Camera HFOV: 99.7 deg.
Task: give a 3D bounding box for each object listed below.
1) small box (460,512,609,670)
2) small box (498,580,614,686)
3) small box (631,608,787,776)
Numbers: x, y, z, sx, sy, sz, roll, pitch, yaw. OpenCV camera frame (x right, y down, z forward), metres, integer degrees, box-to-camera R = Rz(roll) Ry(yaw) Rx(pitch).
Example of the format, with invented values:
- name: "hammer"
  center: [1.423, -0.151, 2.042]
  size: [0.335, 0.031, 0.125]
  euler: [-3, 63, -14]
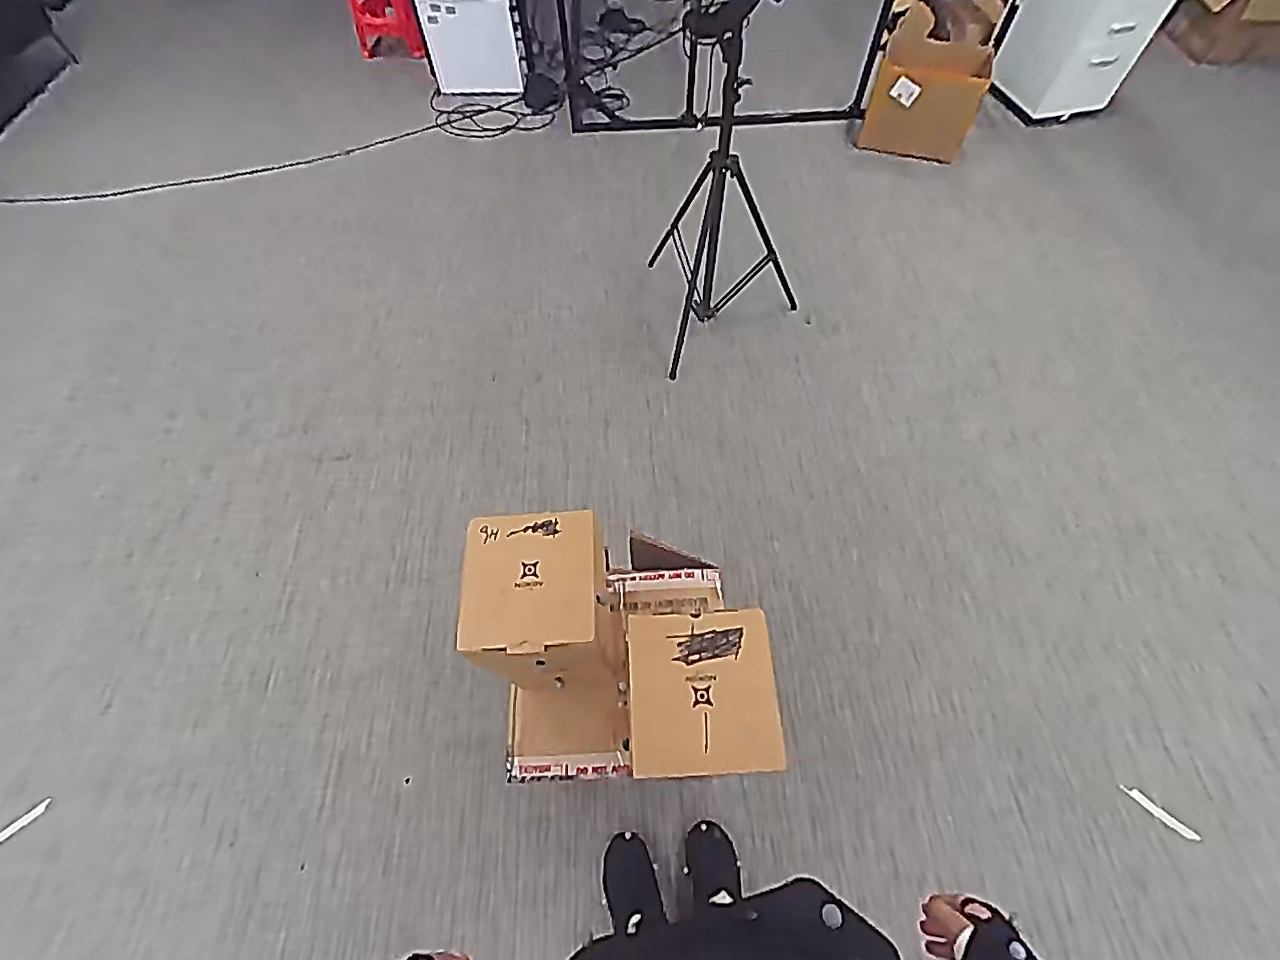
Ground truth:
- name: "small box"
  center: [-0.134, 0.161, 0.747]
  size: [0.168, 0.176, 0.179]
  euler: [-4, 62, 1]
- name: "small box"
  center: [-0.134, 0.232, 0.897]
  size: [0.168, 0.176, 0.179]
  euler: [-6, 62, 0]
- name: "small box"
  center: [0.073, 0.272, 0.684]
  size: [0.168, 0.176, 0.179]
  euler: [-3, 62, 0]
